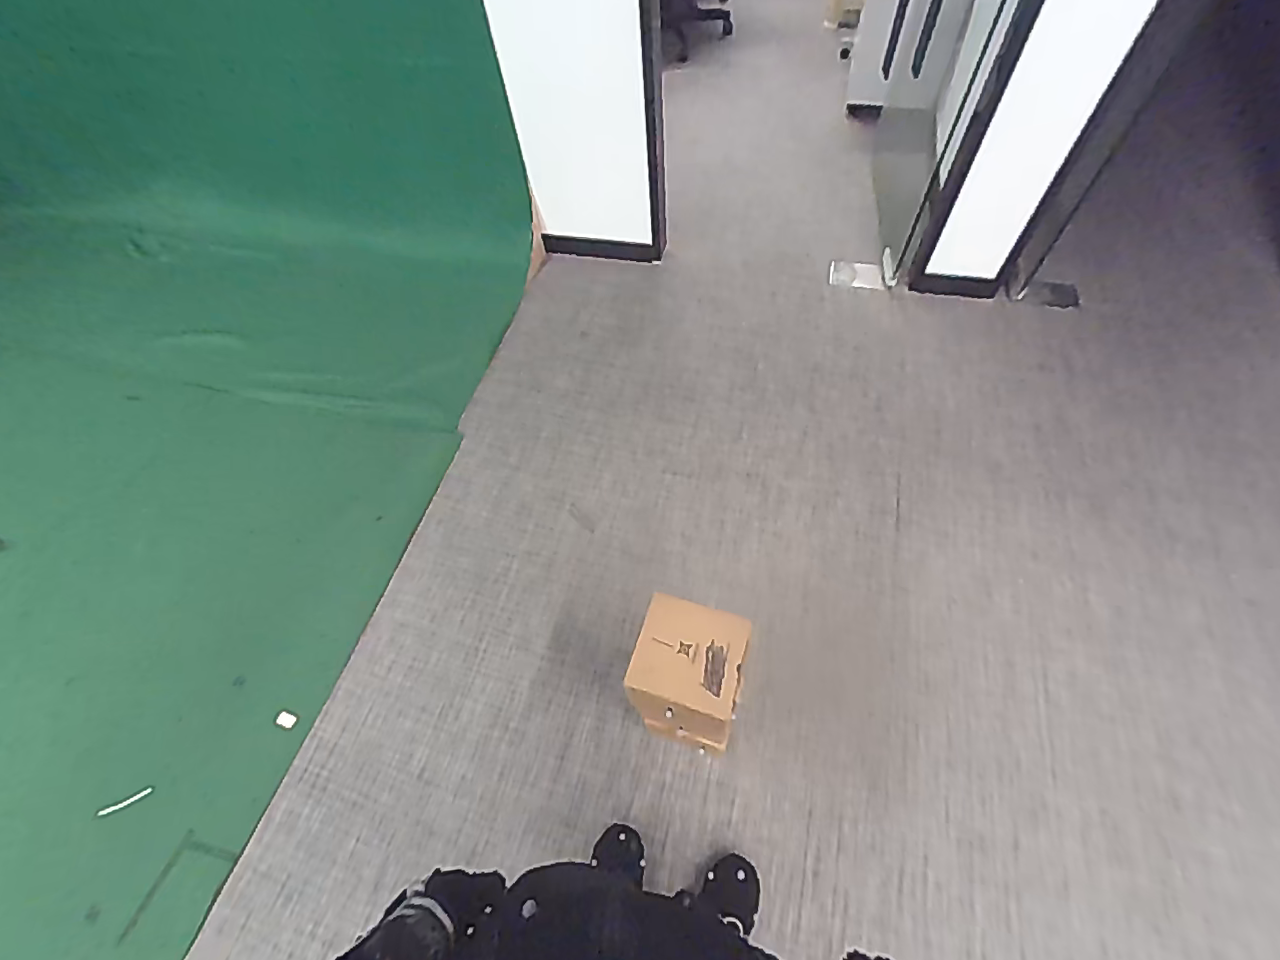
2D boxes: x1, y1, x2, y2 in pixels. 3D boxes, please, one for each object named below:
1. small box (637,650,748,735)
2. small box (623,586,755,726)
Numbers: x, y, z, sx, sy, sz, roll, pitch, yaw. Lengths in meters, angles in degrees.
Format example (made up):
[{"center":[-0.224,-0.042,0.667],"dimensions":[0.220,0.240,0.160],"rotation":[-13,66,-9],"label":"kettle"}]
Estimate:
[{"center":[0.107,0.402,1.094],"dimensions":[0.179,0.176,0.168],"rotation":[15,61,14],"label":"small box"},{"center":[0.087,0.315,0.952],"dimensions":[0.179,0.176,0.168],"rotation":[17,60,15],"label":"small box"}]
